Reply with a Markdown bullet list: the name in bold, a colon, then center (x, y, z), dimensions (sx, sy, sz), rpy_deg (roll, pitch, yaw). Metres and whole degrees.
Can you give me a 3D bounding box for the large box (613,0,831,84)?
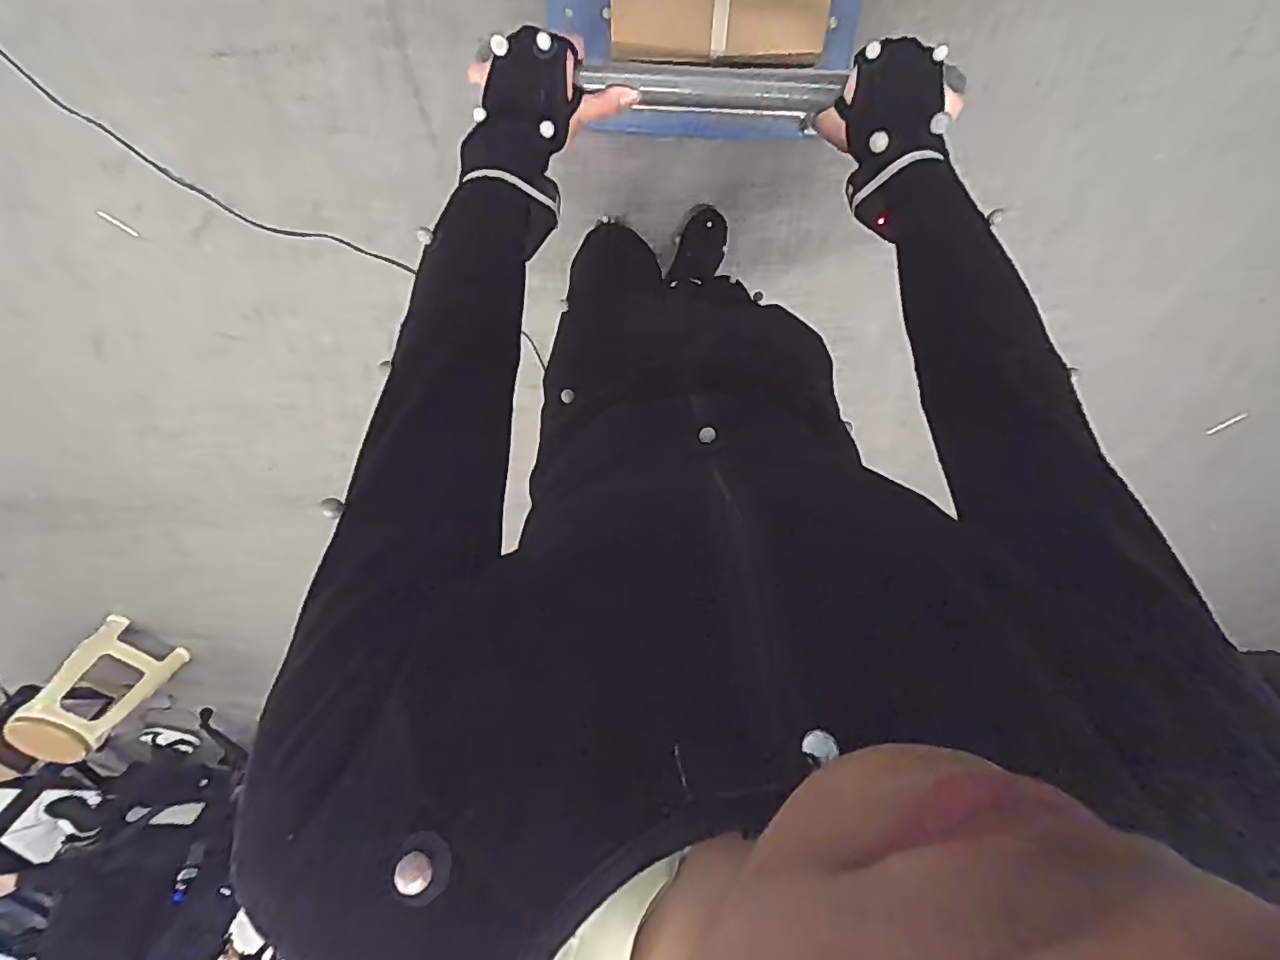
- **large box**: center (0.127, -0.866, 0.829), dimensions (0.320, 0.320, 0.408), rpy_deg (3, 123, 2)
